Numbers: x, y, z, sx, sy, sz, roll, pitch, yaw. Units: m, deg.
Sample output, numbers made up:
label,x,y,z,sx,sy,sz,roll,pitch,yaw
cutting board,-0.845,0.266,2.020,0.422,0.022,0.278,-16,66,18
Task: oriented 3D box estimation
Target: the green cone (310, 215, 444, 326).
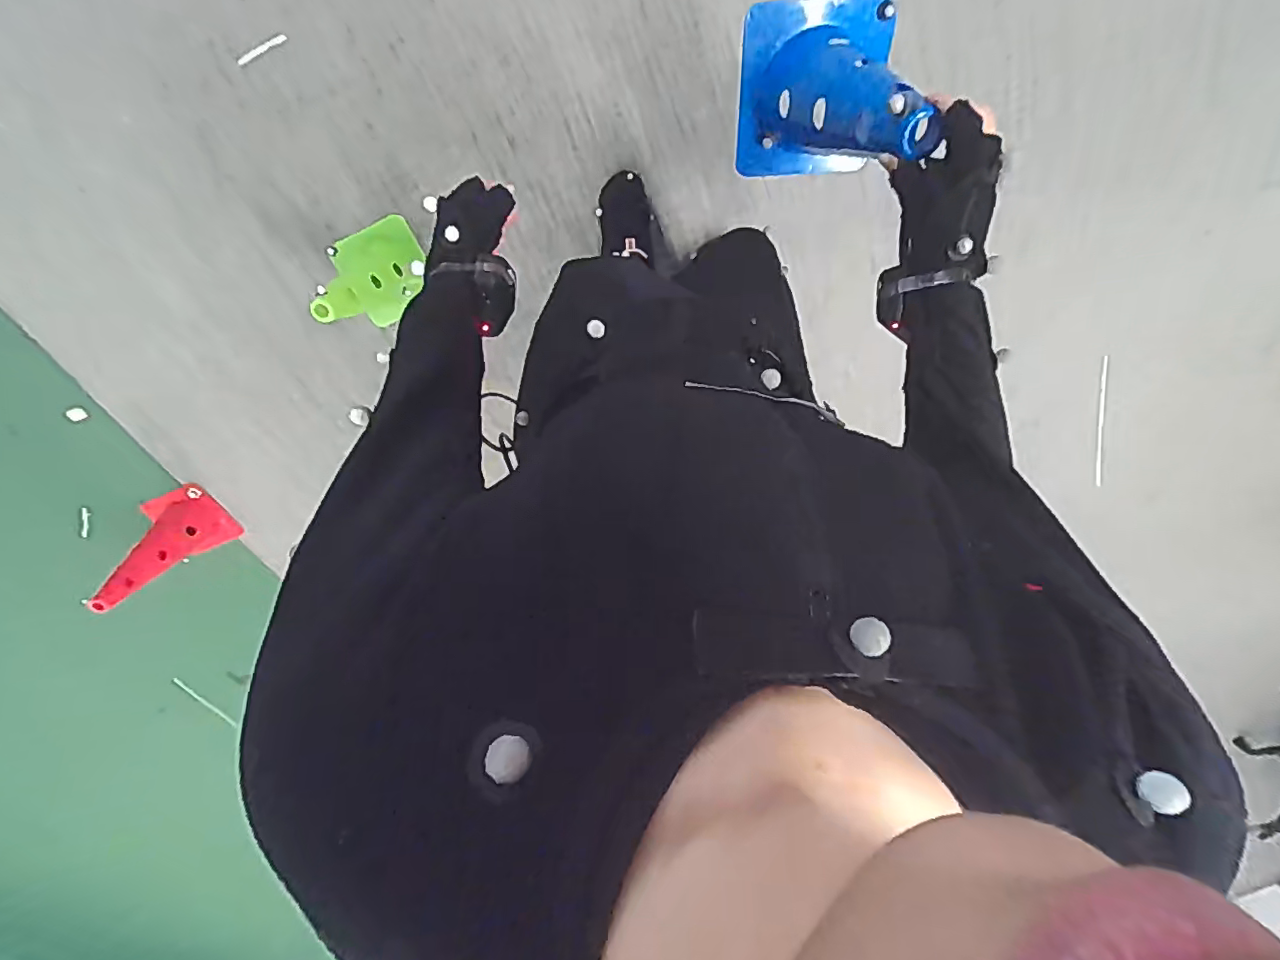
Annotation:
label,x,y,z,sx,sy,sz,roll,pitch,yaw
green cone,-0.572,-0.385,1.099,0.202,0.368,0.200,-22,121,9
